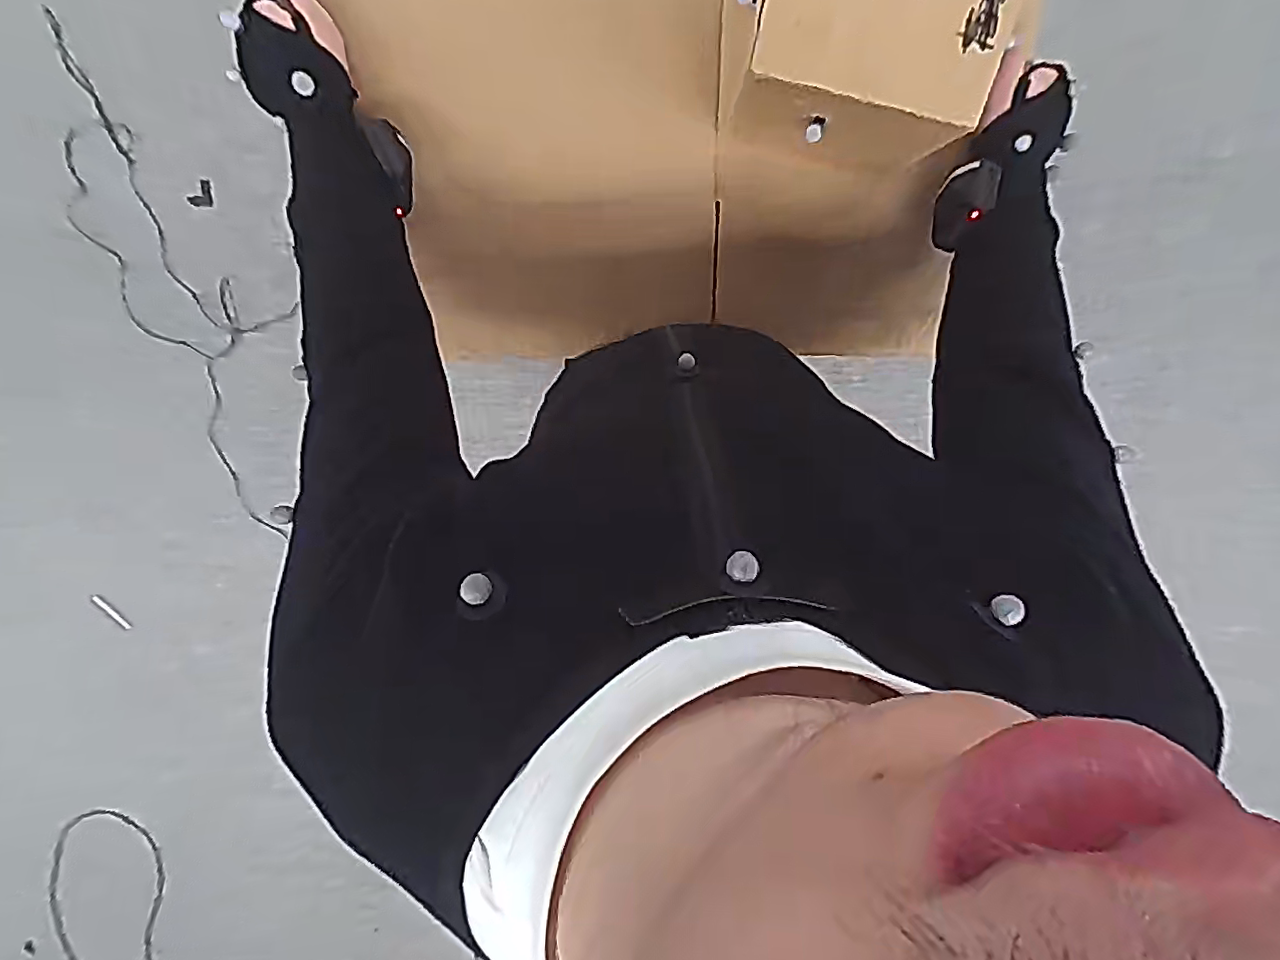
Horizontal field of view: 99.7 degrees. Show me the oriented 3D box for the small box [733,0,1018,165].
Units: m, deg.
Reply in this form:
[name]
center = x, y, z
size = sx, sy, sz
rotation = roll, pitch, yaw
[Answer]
[small box]
center = 0.184, -0.383, 0.448
size = 0.179, 0.176, 0.168
rotation = 13, 109, -1
